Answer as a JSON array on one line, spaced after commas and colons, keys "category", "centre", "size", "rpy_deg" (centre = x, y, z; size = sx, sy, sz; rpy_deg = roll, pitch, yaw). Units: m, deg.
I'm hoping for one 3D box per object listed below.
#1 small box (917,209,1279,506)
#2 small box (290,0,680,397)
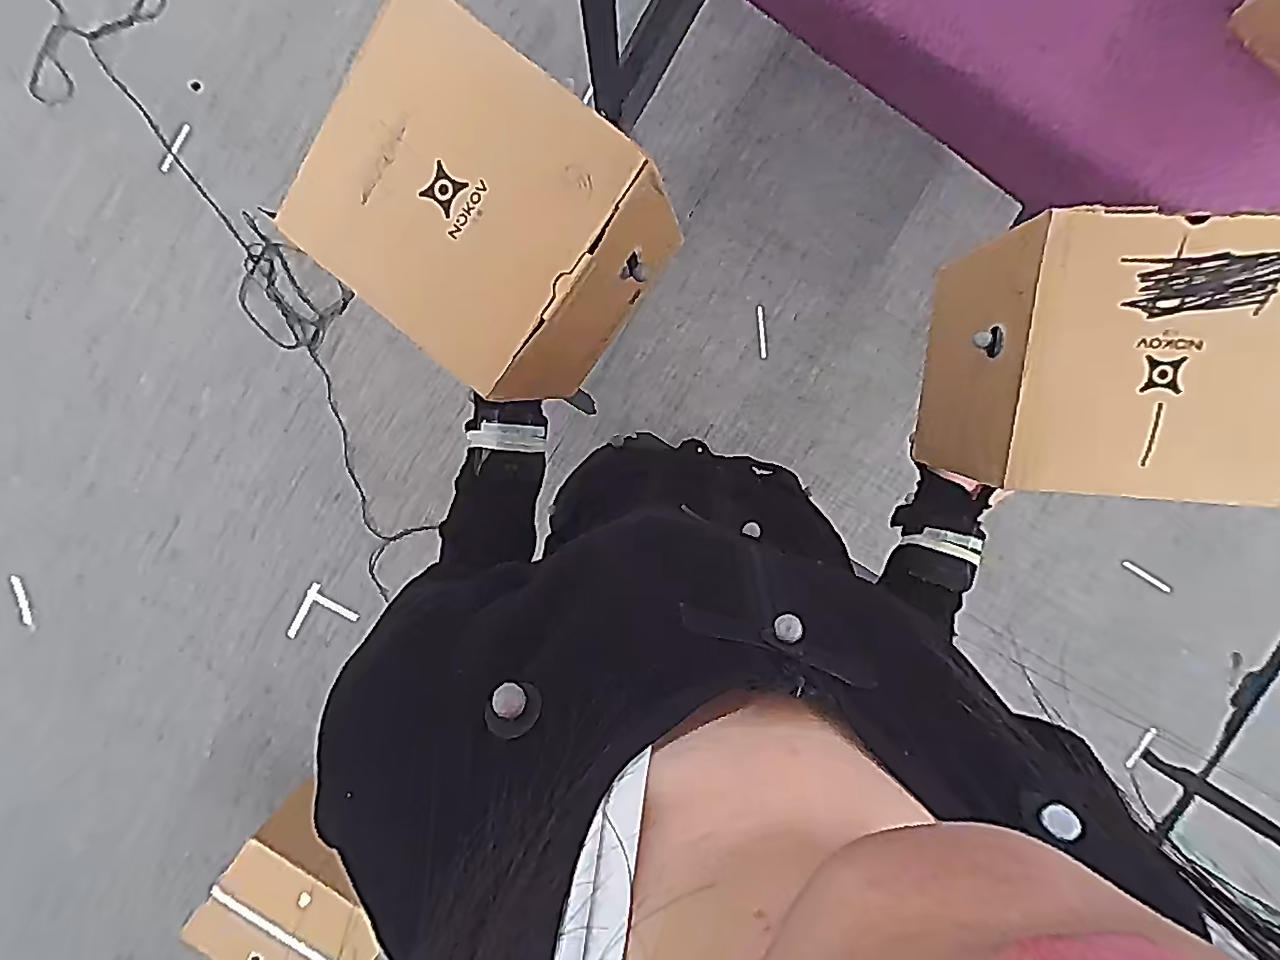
[{"category": "small box", "centre": [0.337, -0.087, 0.418], "size": [0.168, 0.176, 0.179], "rpy_deg": [5, 100, 7]}, {"category": "small box", "centre": [-0.088, -0.178, 0.390], "size": [0.179, 0.176, 0.168], "rpy_deg": [39, 103, 3]}]
